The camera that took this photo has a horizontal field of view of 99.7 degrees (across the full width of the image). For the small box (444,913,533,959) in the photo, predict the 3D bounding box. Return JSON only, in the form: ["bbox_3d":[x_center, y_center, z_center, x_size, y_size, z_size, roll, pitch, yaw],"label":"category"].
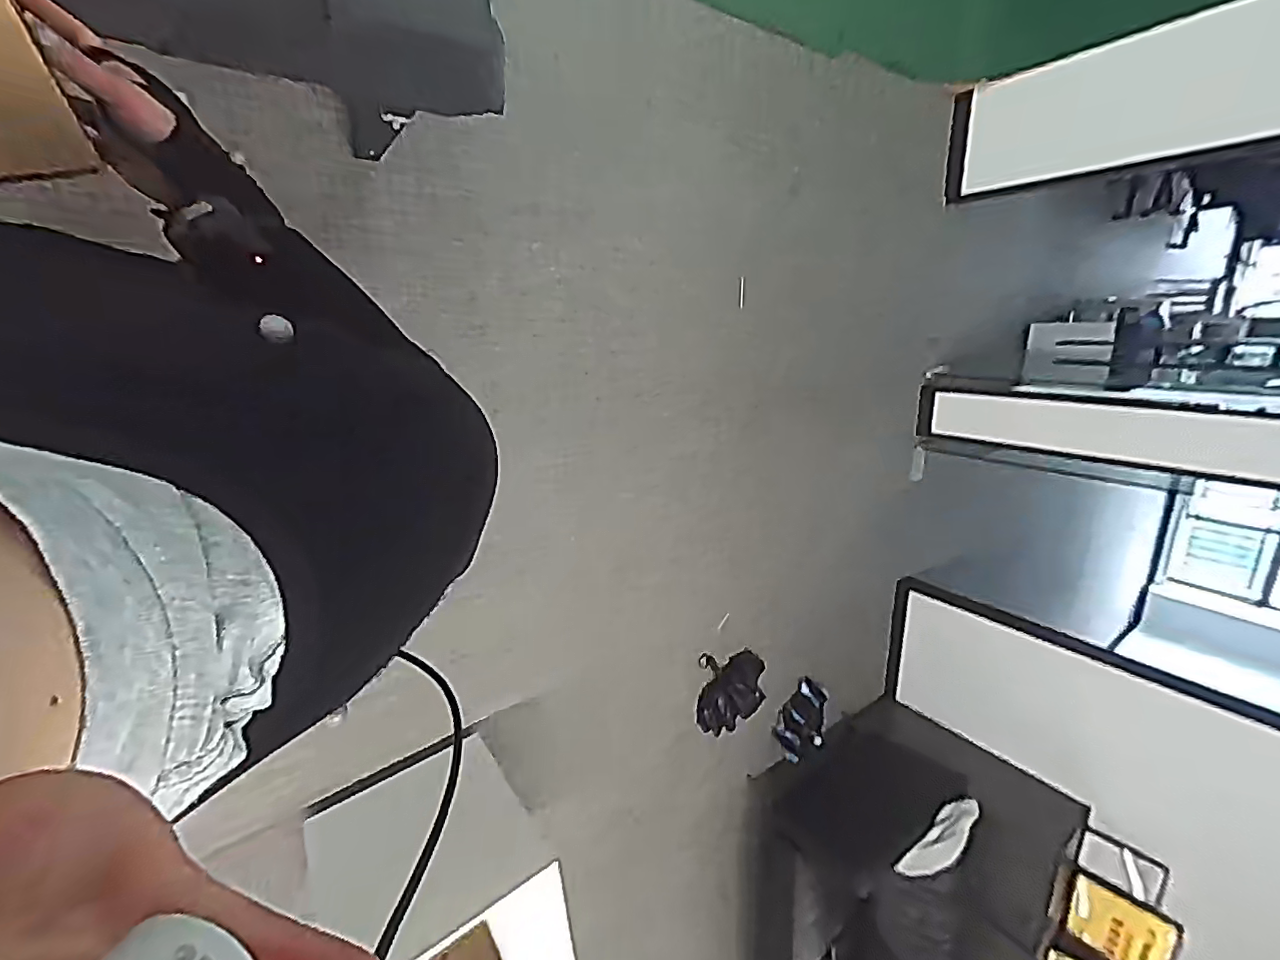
[{"bbox_3d":[-0.312,1.114,1.180,0.168,0.176,0.179,-22,116,-32],"label":"small box"}]
